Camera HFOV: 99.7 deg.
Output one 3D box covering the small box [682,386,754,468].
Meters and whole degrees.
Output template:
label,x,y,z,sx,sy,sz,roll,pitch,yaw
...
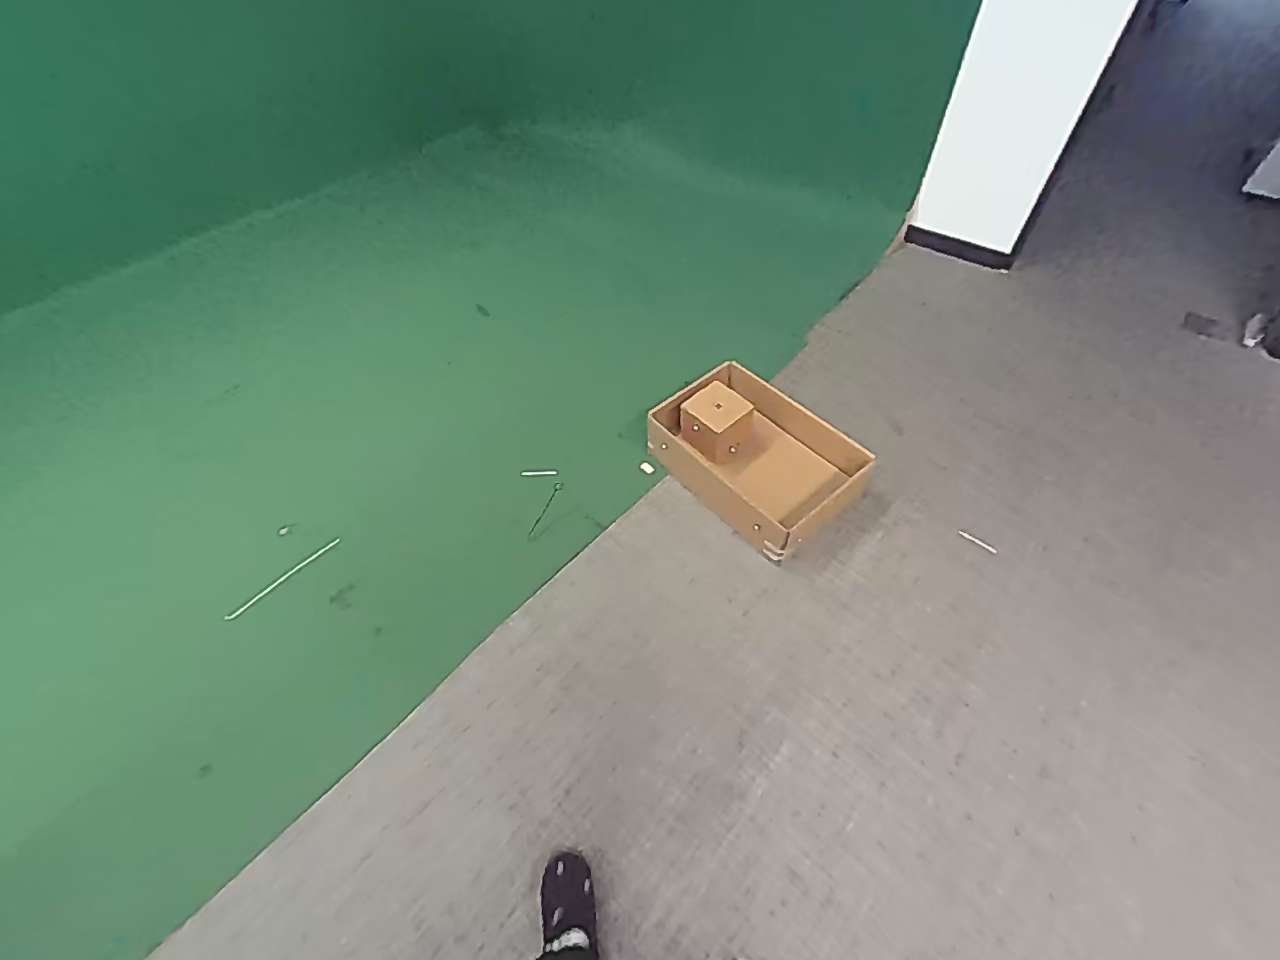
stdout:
label,x,y,z,sx,sy,sz,roll,pitch,yaw
small box,0.252,-0.173,1.798,0.168,0.176,0.179,-35,59,-20
